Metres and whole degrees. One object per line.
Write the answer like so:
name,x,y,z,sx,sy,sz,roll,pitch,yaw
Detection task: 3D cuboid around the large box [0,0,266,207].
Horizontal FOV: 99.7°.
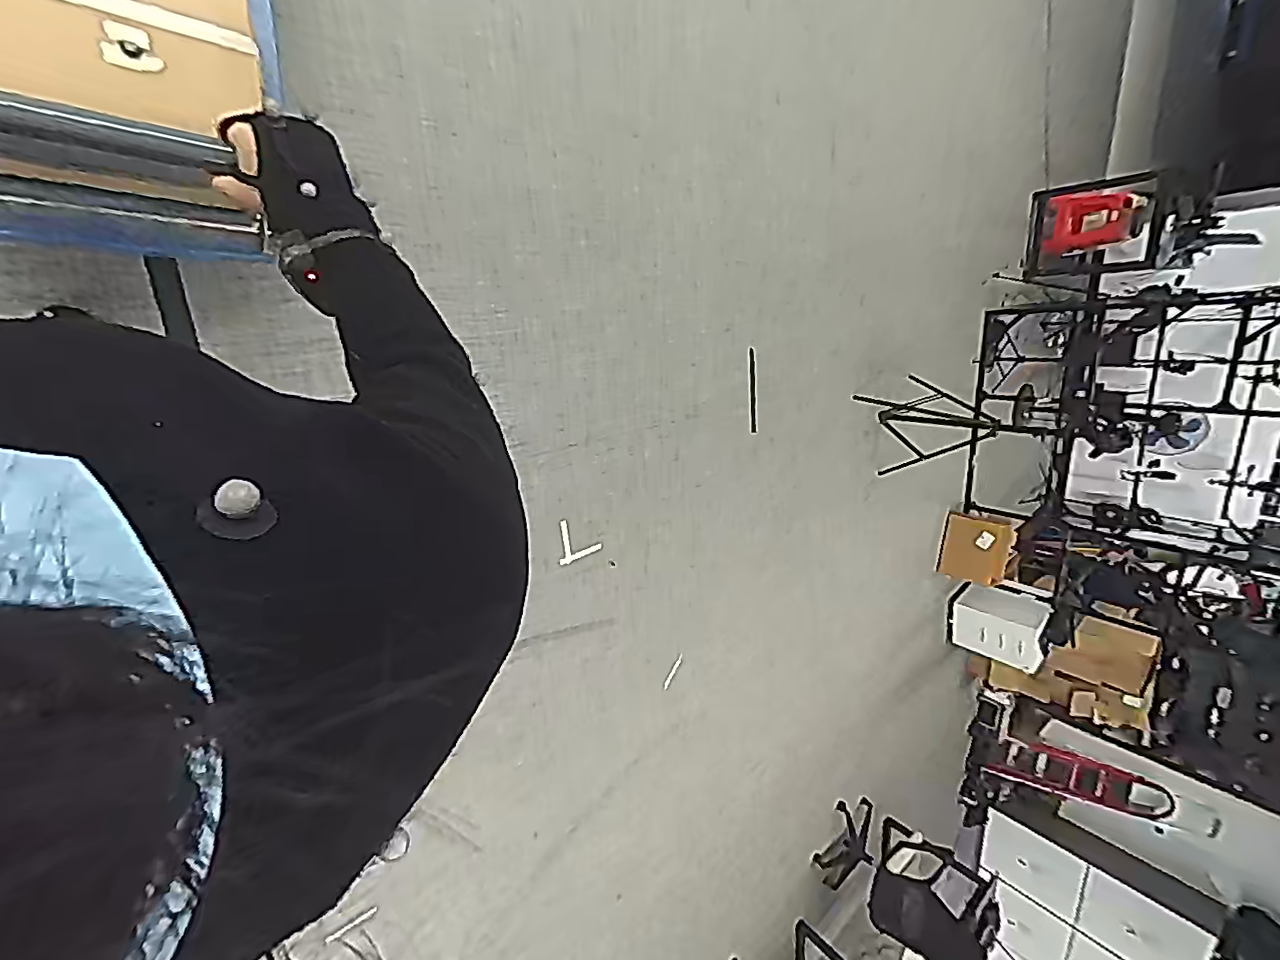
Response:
large box,-0.796,-0.601,0.742,0.408,0.320,0.320,-10,108,-40
